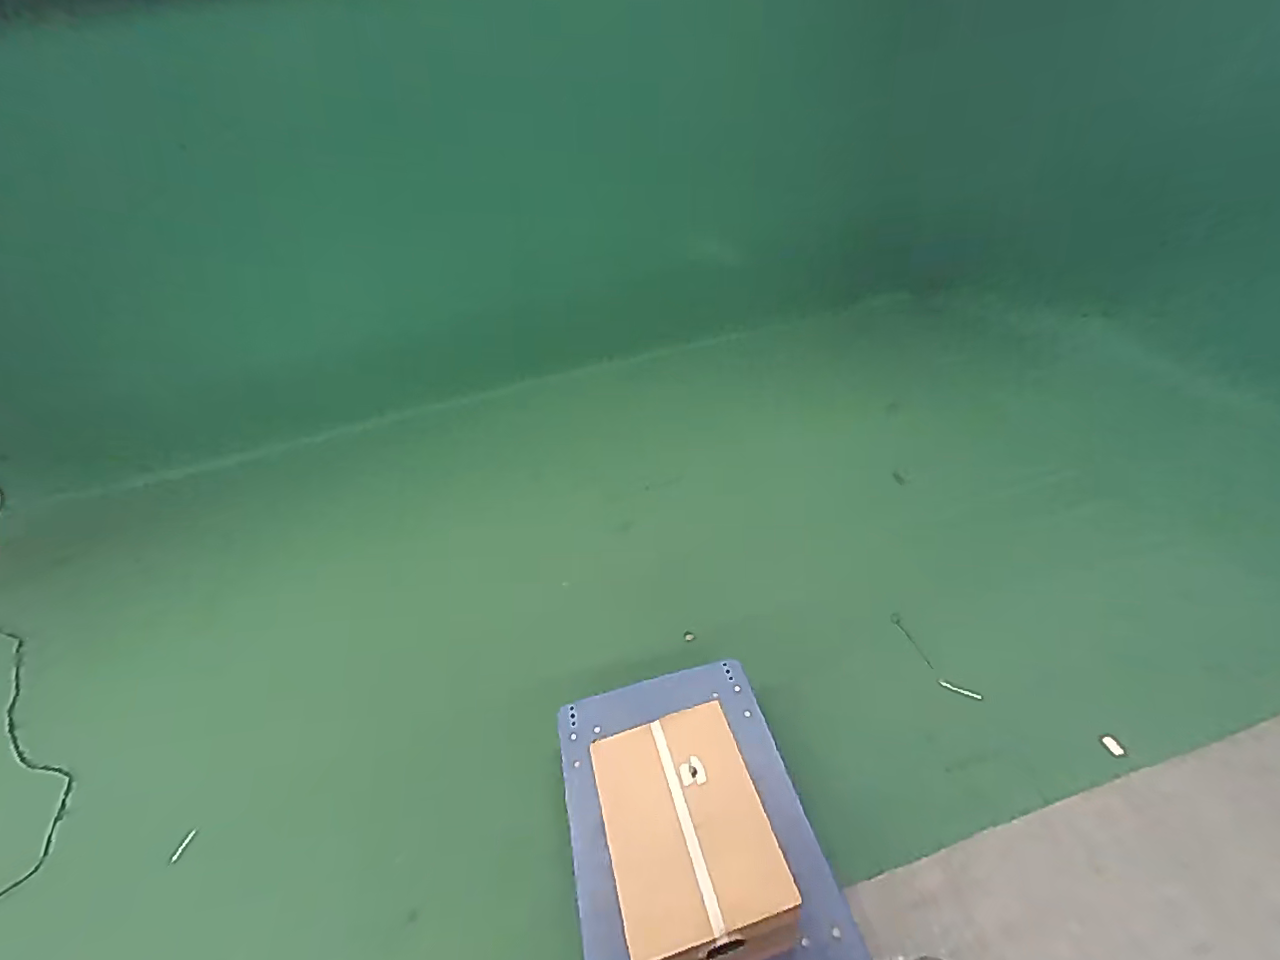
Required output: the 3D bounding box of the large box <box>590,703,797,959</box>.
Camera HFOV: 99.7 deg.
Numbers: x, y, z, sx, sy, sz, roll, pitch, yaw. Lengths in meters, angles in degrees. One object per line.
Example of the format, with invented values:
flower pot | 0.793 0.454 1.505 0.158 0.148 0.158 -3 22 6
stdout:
large box | 0.108 0.788 1.180 0.320 0.320 0.408 -16 38 -7
